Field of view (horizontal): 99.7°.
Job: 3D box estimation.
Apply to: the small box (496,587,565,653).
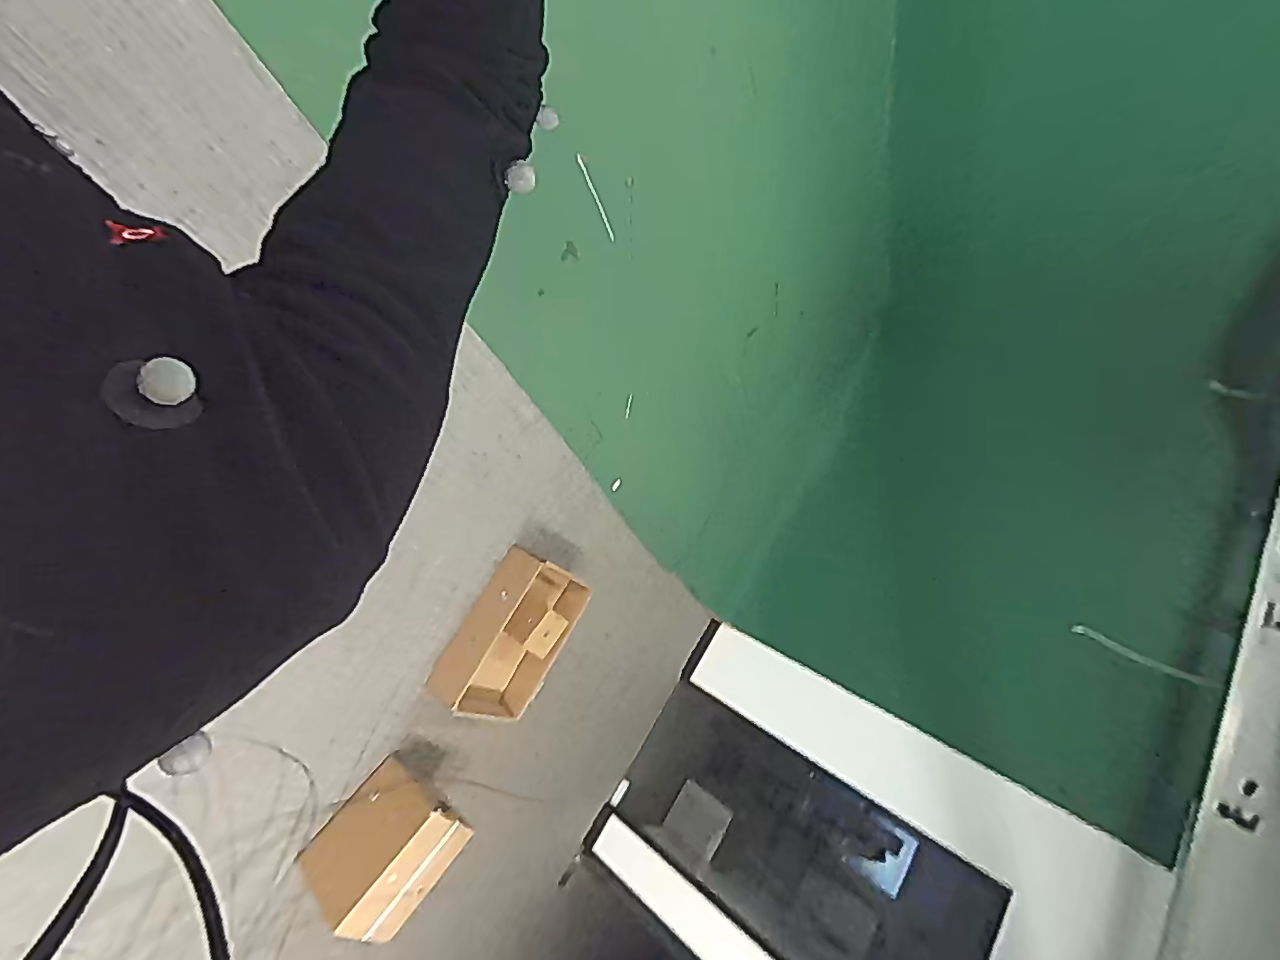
[{"bbox_3d":[-0.439,0.557,2.164,0.179,0.176,0.168,-54,143,-15],"label":"small box"}]
